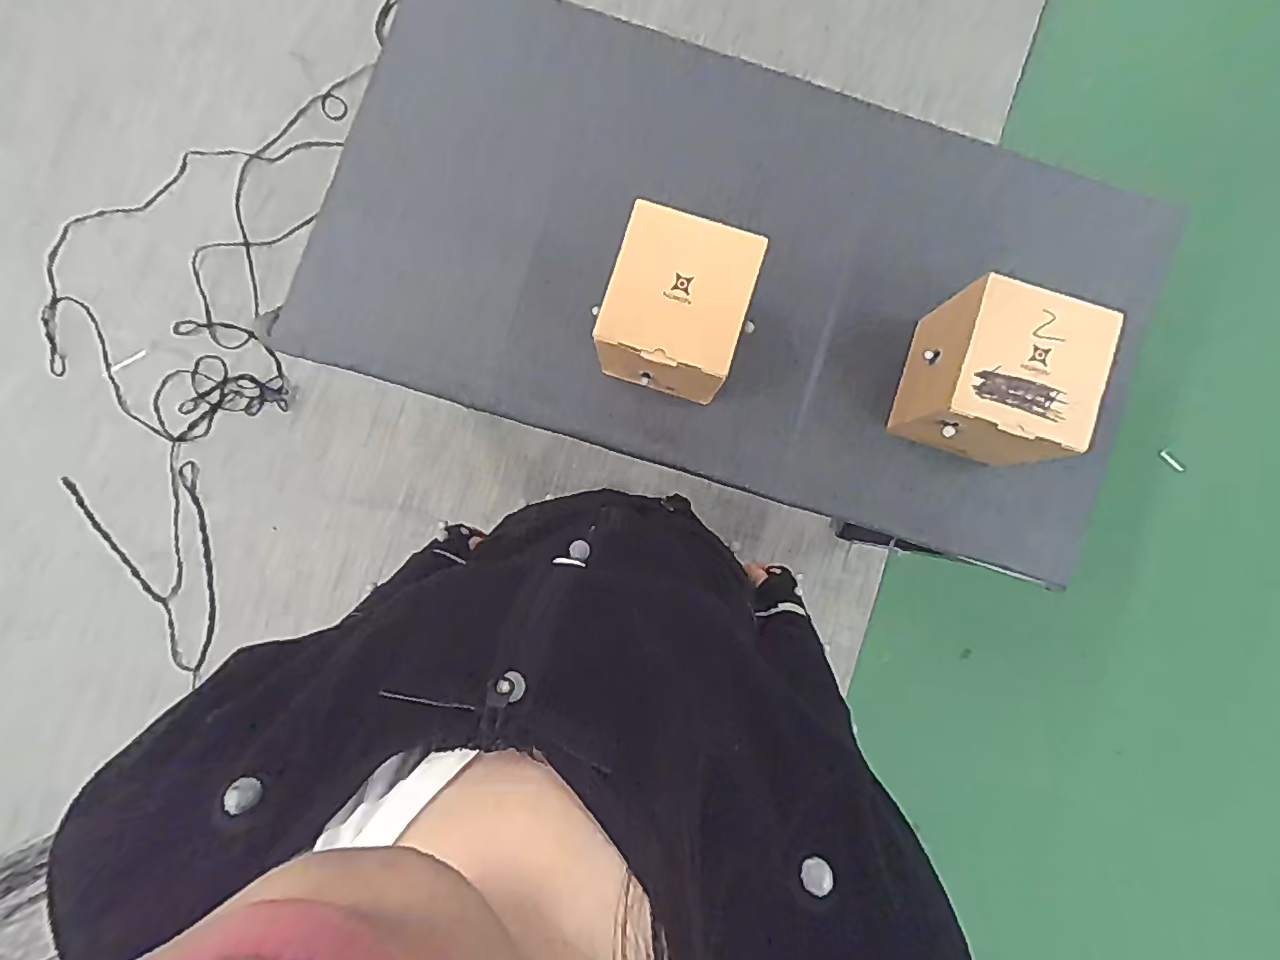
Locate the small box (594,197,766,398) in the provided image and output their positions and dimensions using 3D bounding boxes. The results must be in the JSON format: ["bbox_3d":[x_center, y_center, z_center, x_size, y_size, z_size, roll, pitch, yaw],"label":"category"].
[{"bbox_3d":[0.045,-0.224,0.710,0.168,0.176,0.179,17,88,0],"label":"small box"}]
